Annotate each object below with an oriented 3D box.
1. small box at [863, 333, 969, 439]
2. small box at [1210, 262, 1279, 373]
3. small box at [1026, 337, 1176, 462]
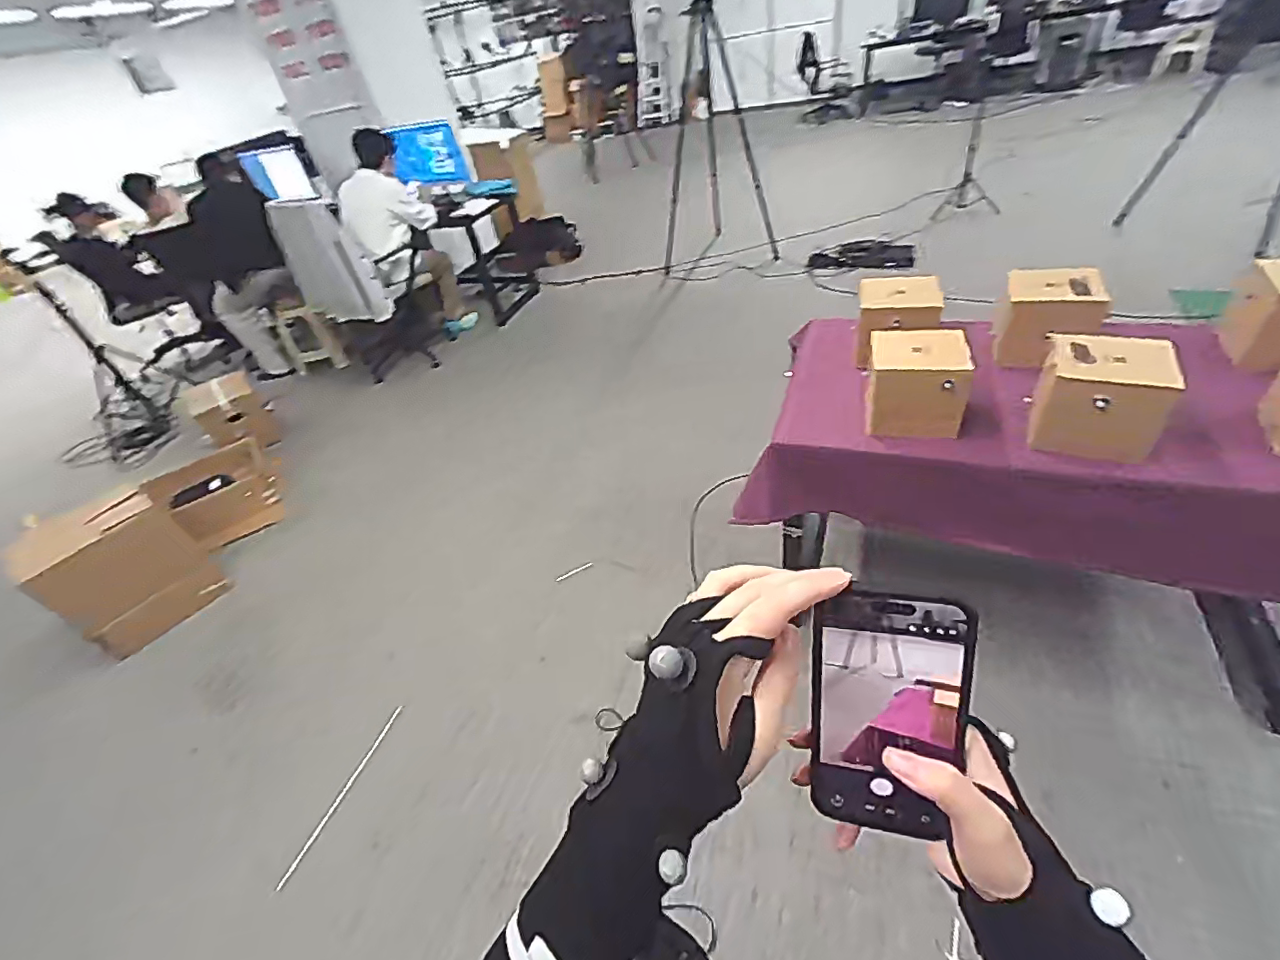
[{"bbox_3d":[0.580,-0.201,1.161,0.179,0.176,0.168,4,42,17],"label":"small box"},{"bbox_3d":[1.341,-0.335,1.119,0.168,0.176,0.179,10,46,25],"label":"small box"},{"bbox_3d":[0.862,-0.154,1.033,0.179,0.176,0.168,13,46,26],"label":"small box"}]
